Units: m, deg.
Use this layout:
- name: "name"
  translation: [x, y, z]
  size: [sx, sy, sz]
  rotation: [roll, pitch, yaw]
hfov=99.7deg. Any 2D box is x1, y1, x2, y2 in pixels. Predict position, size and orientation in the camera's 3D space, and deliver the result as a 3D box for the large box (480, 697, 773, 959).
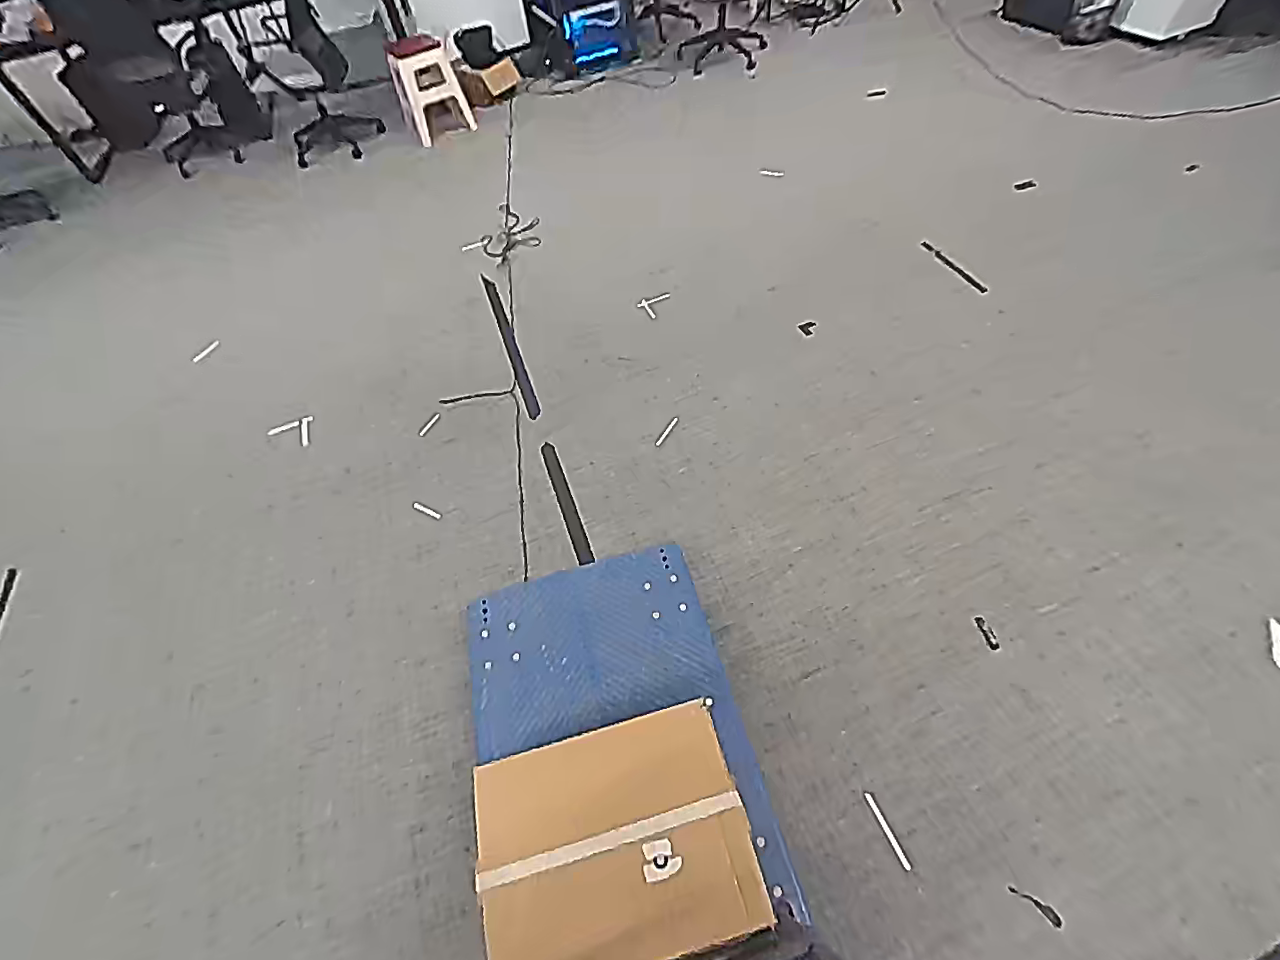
- name: "large box"
  translation: [-0.026, 0.633, 0.950]
  size: [0.408, 0.320, 0.320]
  rotation: [-15, 55, -5]
